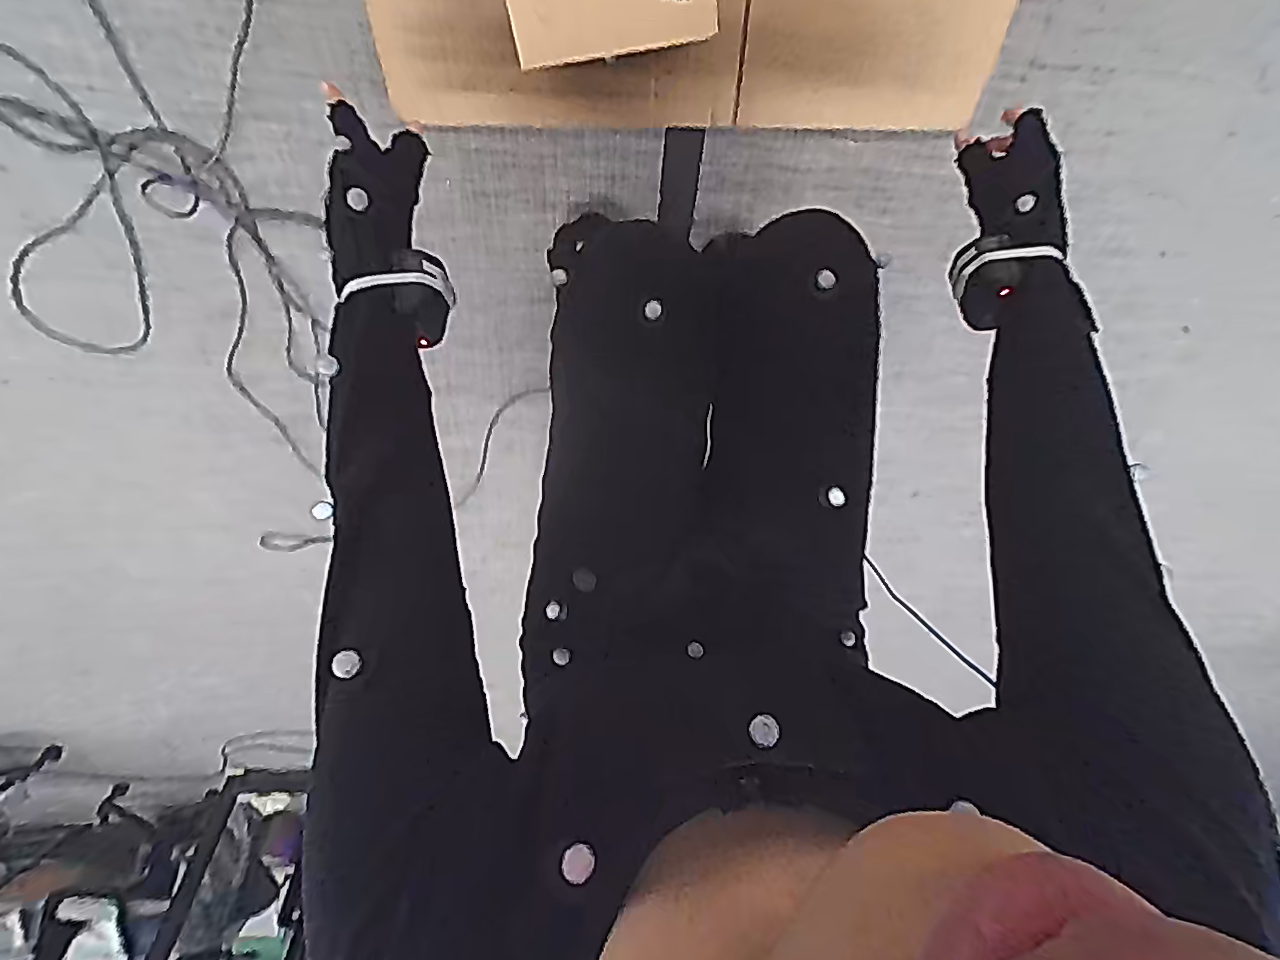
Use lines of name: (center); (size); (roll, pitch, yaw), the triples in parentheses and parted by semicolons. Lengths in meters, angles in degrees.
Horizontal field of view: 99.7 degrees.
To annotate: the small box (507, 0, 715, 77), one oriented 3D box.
small box: (-0.034, -0.487, 0.481); (0.179, 0.176, 0.168); (-7, 135, 4)
